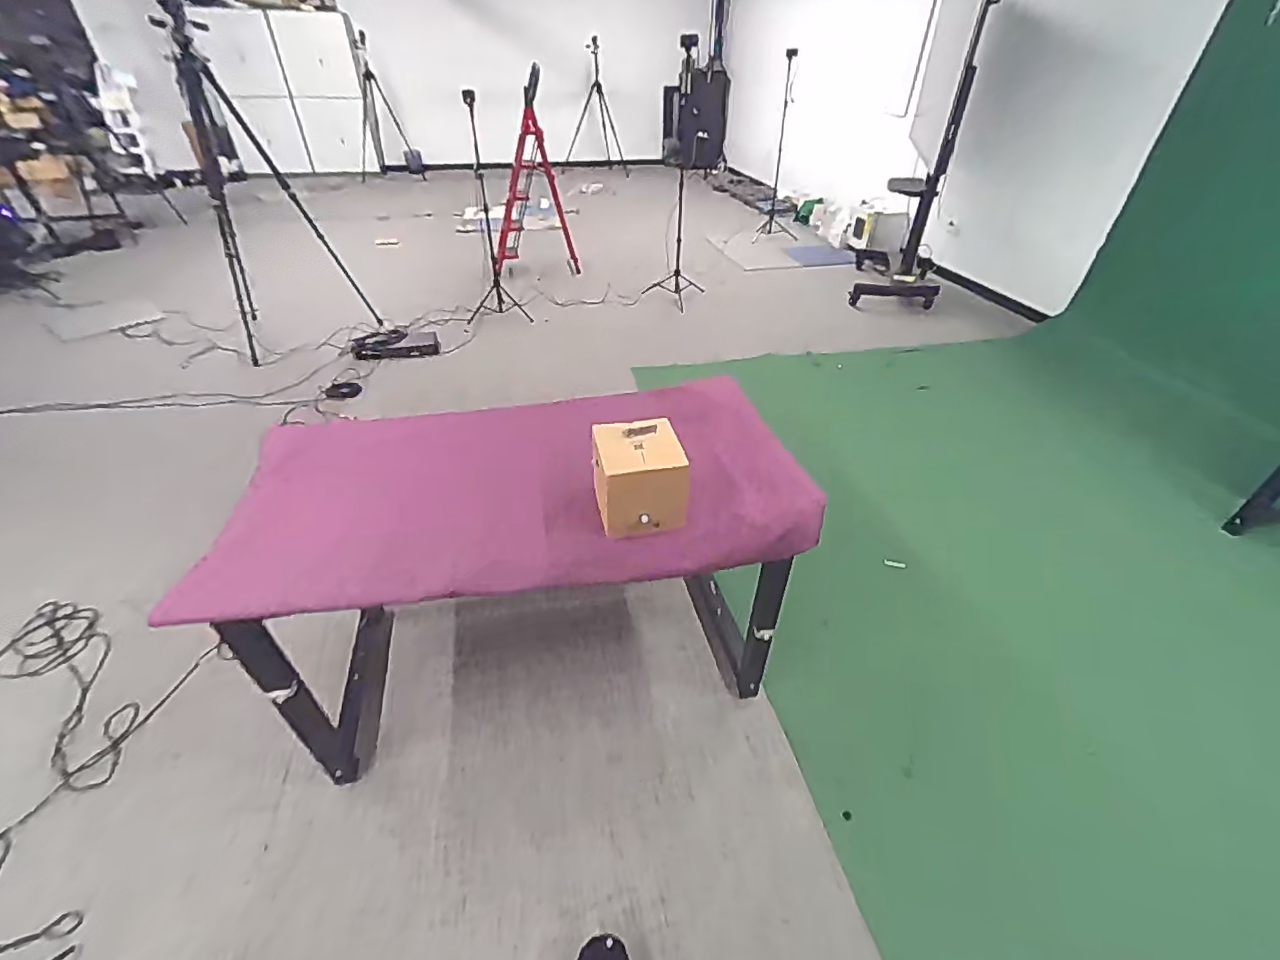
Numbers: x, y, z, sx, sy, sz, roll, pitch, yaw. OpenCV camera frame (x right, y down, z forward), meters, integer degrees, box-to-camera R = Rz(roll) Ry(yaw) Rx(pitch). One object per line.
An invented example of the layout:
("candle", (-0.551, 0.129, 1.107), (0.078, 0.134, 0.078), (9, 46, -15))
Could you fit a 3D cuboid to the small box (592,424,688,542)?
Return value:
("small box", (-0.007, 0.004, 1.128), (0.168, 0.176, 0.179), (-7, 39, -10))
